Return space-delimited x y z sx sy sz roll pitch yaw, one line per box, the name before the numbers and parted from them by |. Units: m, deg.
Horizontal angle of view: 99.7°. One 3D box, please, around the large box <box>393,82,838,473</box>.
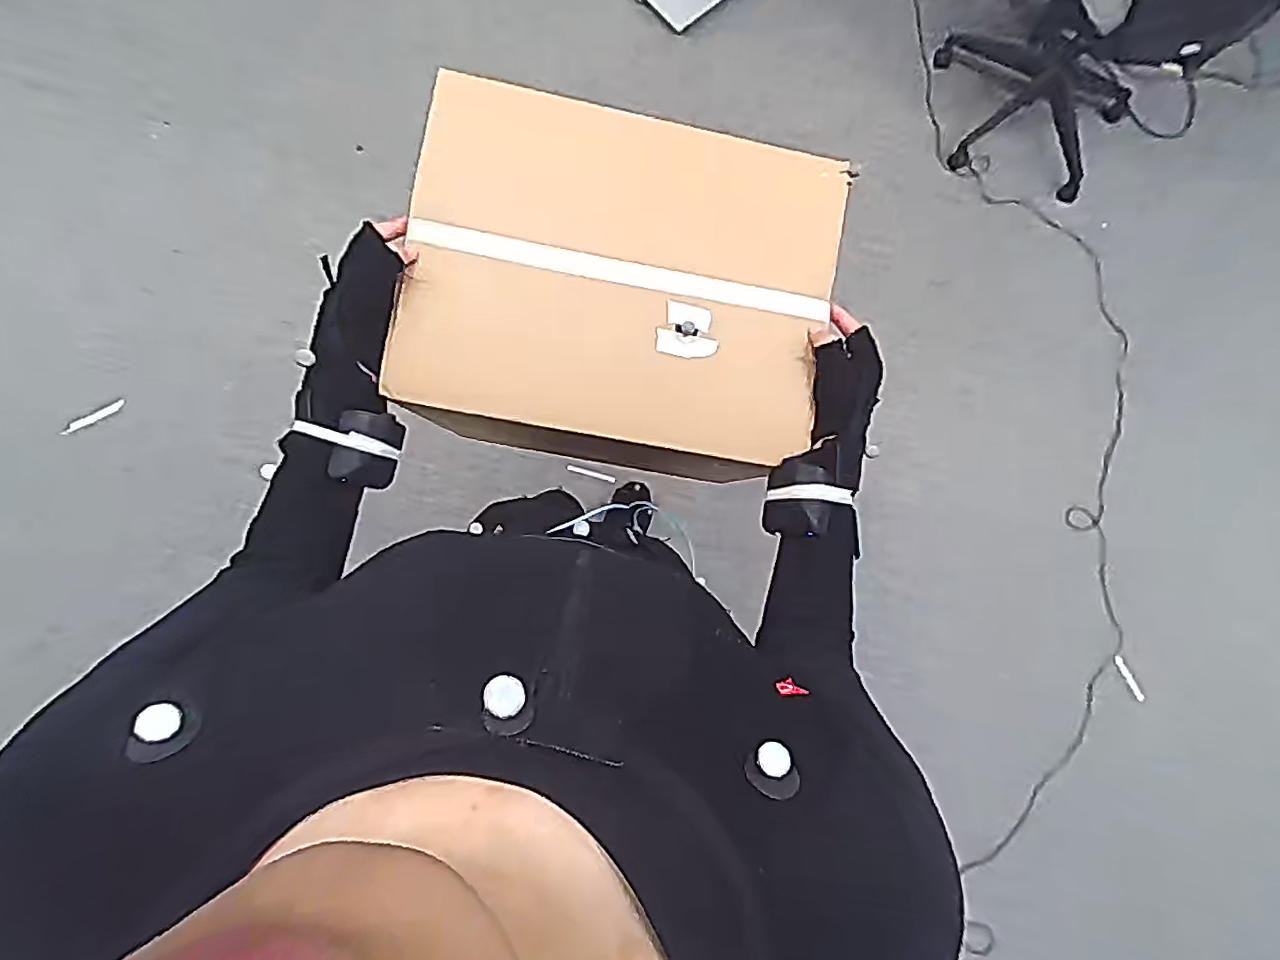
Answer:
large box | -0.031 -0.194 0.672 0.408 0.320 0.320 10 88 -6
